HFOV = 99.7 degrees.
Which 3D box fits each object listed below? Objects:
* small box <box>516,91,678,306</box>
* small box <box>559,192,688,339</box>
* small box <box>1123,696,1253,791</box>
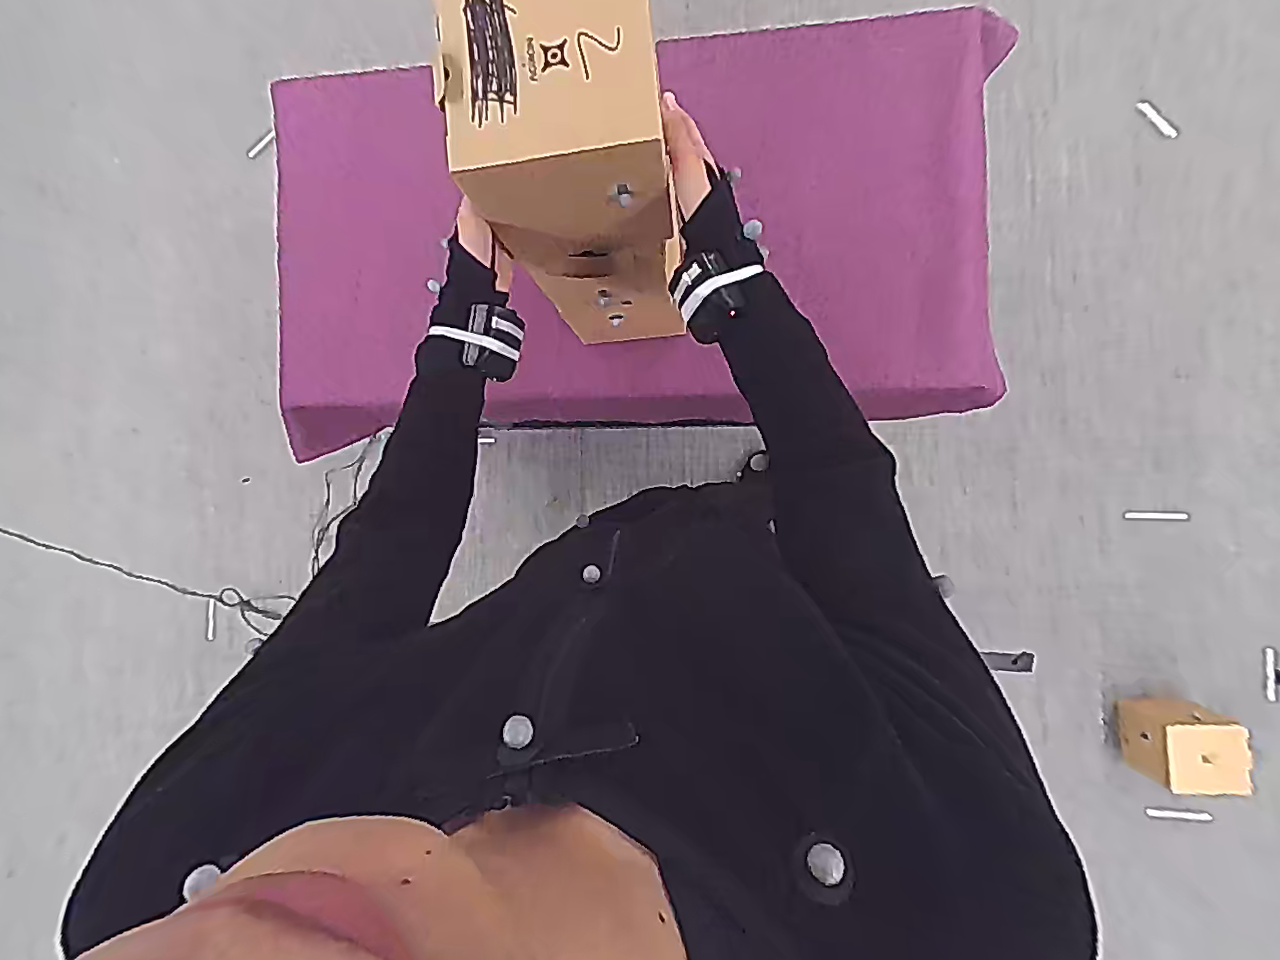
[{"bbox_3d":[-0.042,-0.329,0.663,0.168,0.176,0.179,2,89,8],"label":"small box"},{"bbox_3d":[-0.021,-0.322,0.826,0.179,0.176,0.168,-4,89,6],"label":"small box"},{"bbox_3d":[1.375,0.661,1.373,0.179,0.176,0.168,-4,89,7],"label":"small box"}]
